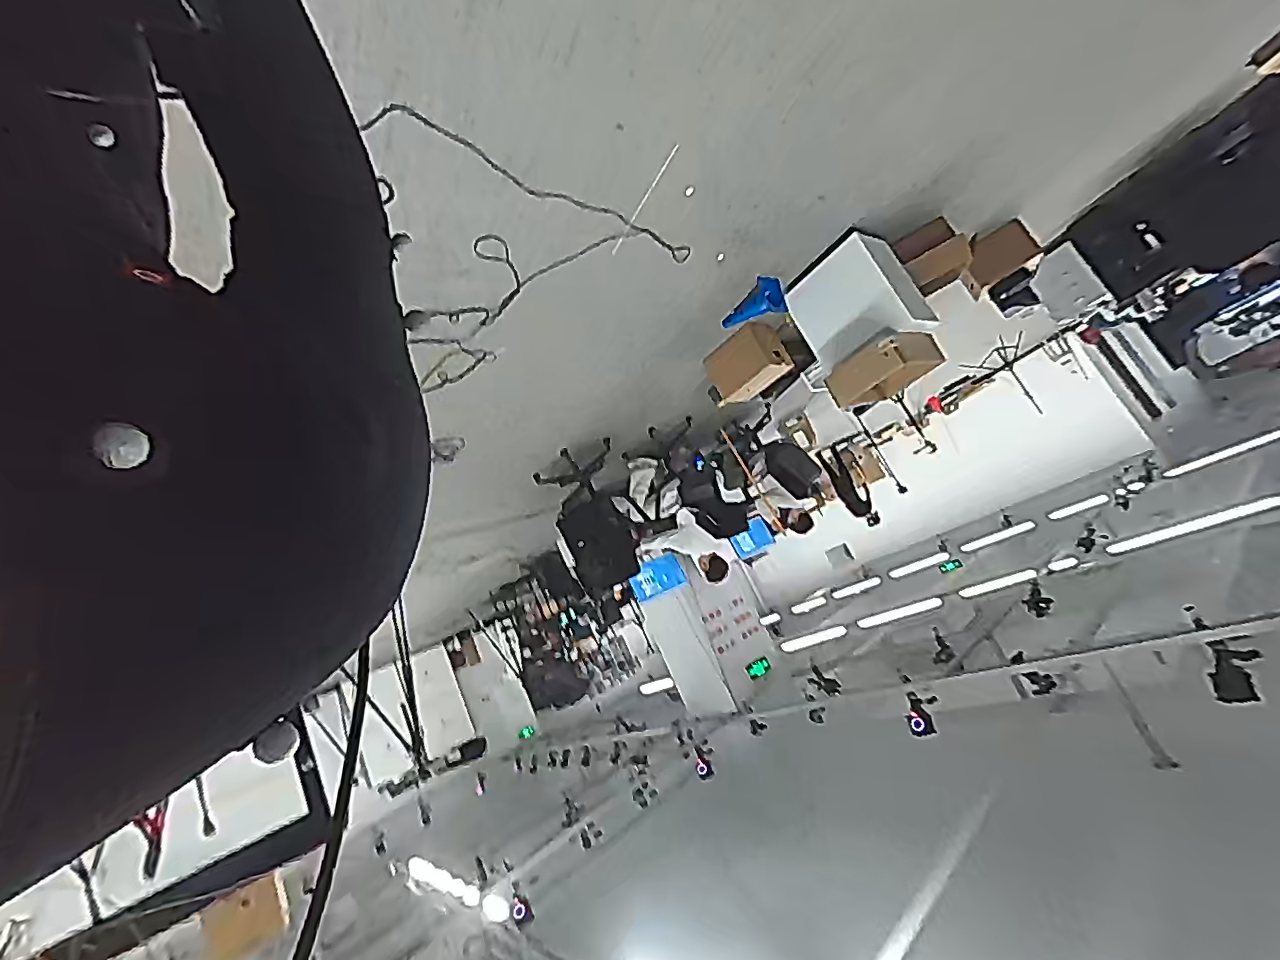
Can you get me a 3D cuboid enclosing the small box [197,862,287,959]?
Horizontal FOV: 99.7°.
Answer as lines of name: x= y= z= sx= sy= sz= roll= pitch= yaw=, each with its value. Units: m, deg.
small box: x=-1.089 y=1.191 z=1.489 sx=0.168 sy=0.176 sz=0.179 roll=-16 pitch=165 yaw=-35
